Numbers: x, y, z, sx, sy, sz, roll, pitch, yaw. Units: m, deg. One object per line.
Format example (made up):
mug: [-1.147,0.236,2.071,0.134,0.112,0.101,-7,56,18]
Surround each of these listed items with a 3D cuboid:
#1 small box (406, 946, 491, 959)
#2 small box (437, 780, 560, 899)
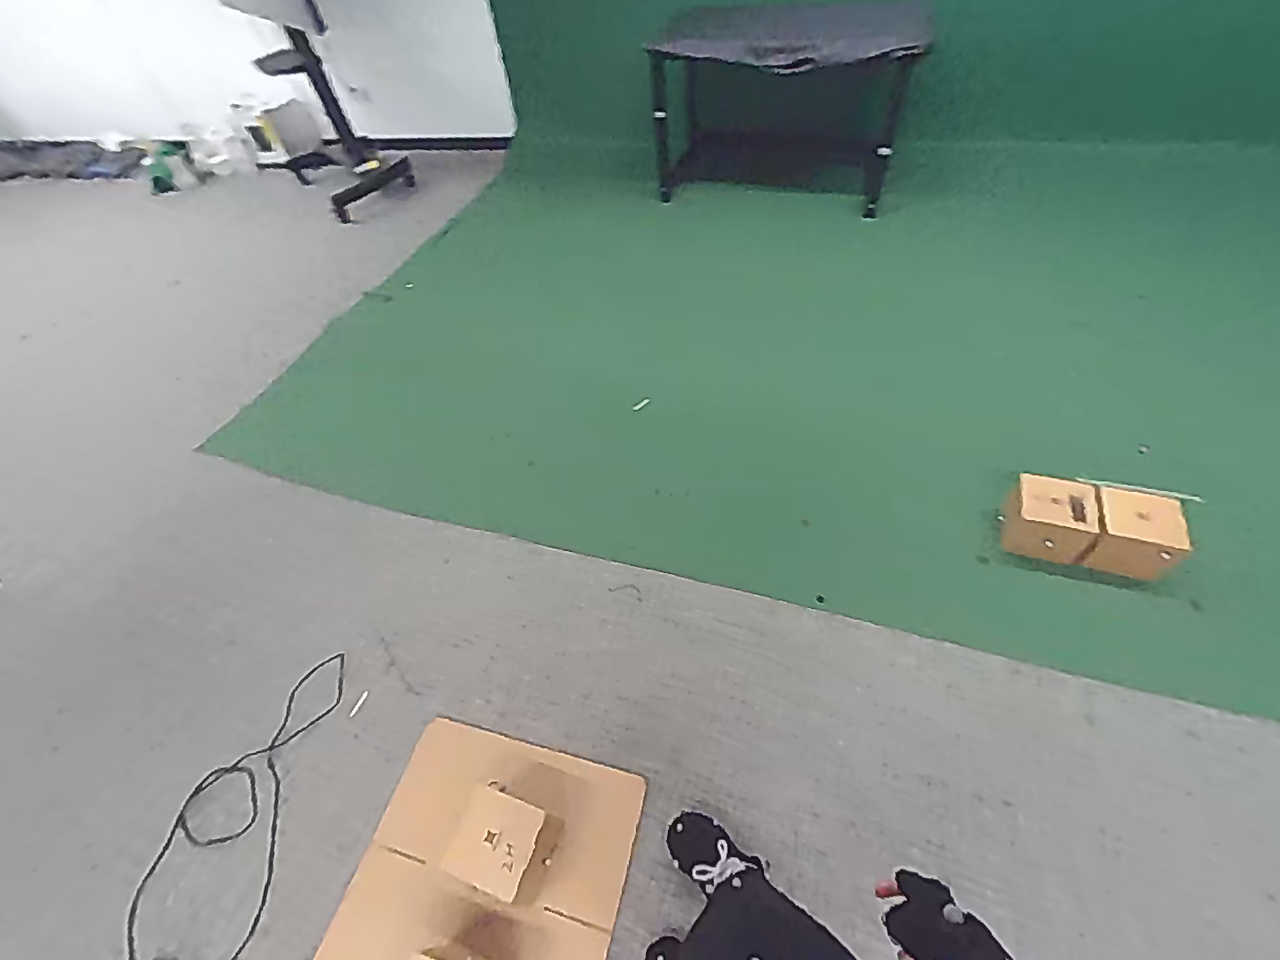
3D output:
small box: [-0.358,1.002,1.012,0.179,0.176,0.168,7,53,14]
small box: [-0.298,0.786,1.179,0.179,0.176,0.168,13,56,17]
